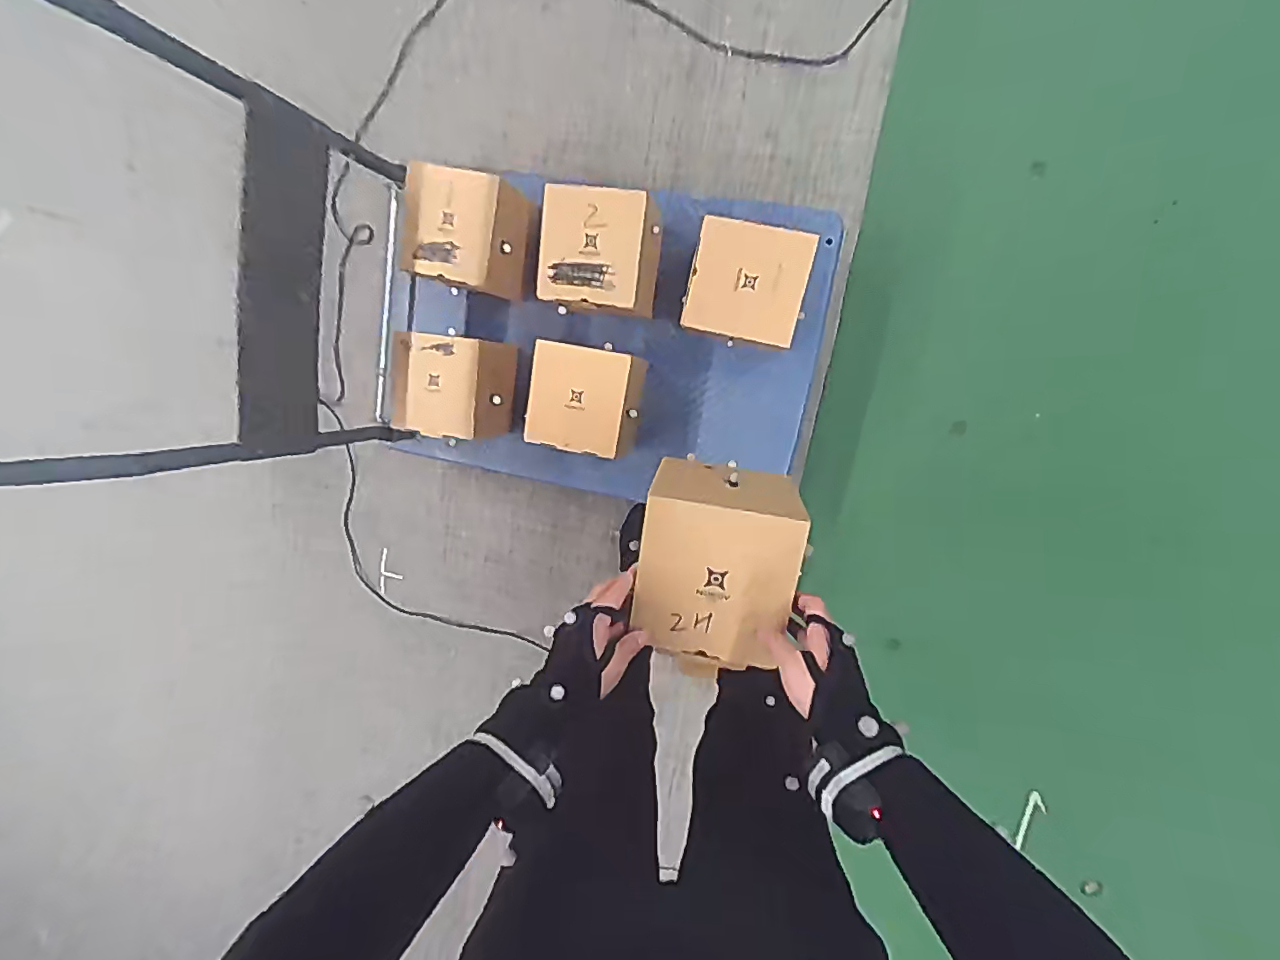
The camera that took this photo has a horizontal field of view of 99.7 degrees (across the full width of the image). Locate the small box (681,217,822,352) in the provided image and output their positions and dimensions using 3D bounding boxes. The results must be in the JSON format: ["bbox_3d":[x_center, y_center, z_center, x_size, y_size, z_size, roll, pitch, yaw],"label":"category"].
[{"bbox_3d":[0.181,-0.310,0.891,0.179,0.176,0.168,15,104,8],"label":"small box"}]

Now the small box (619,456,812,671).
[{"bbox_3d":[0.087,0.085,0.644,0.168,0.176,0.179,17,109,6],"label":"small box"}]

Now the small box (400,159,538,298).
[{"bbox_3d":[-0.296,-0.433,0.961,0.168,0.176,0.179,14,102,8],"label":"small box"}]

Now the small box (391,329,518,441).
[{"bbox_3d":[-0.341,-0.180,1.015,0.168,0.176,0.179,10,102,9],"label":"small box"}]
